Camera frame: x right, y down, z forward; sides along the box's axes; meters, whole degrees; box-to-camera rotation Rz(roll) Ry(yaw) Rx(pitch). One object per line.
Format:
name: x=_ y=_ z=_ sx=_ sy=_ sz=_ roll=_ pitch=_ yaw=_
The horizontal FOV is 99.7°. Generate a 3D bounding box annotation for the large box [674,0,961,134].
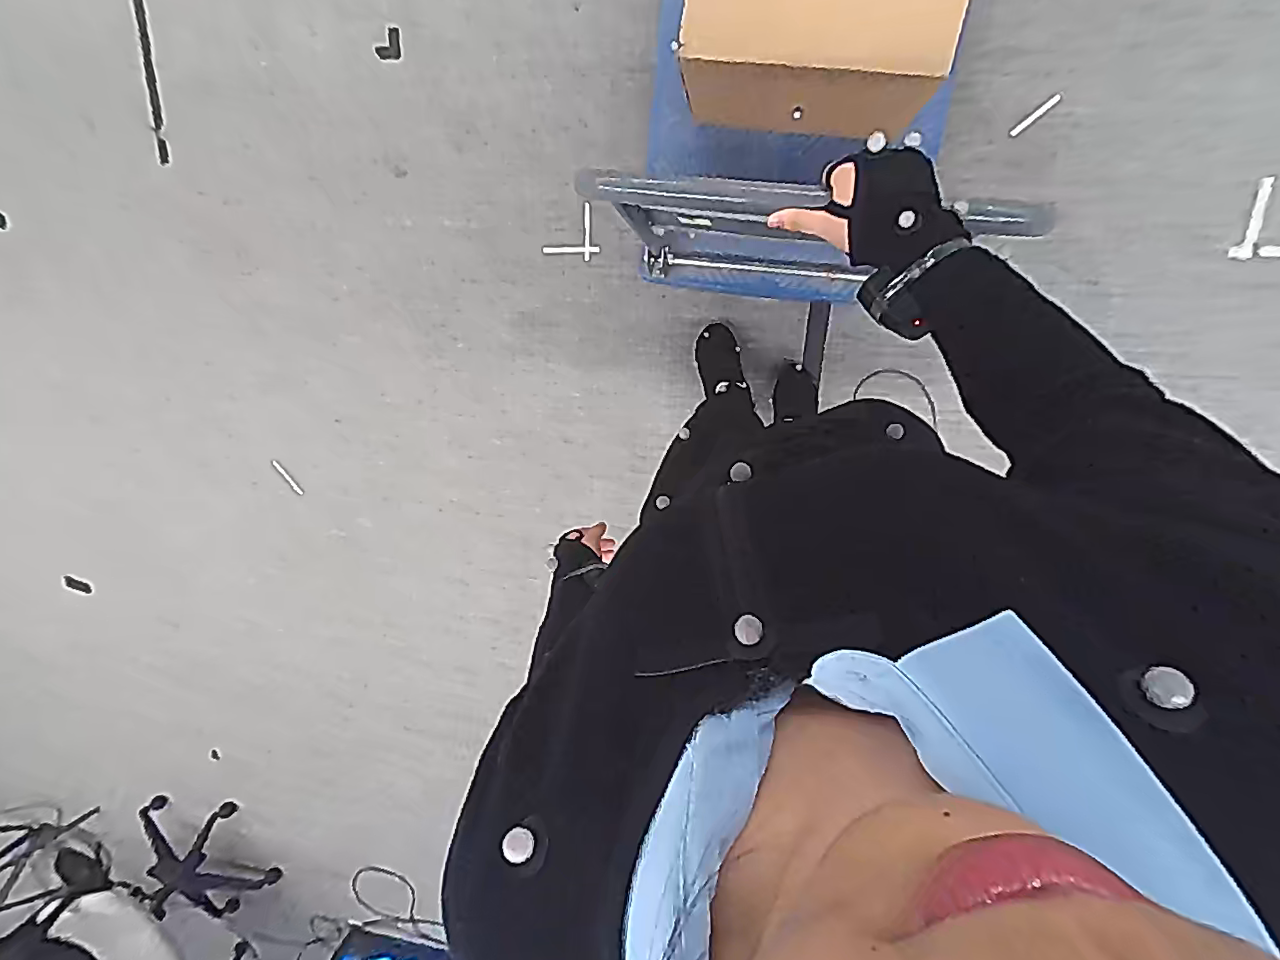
large box: x=0.291 y=-0.805 z=0.901 sx=0.408 sy=0.320 sz=0.320 roll=10 pitch=107 yaw=9
